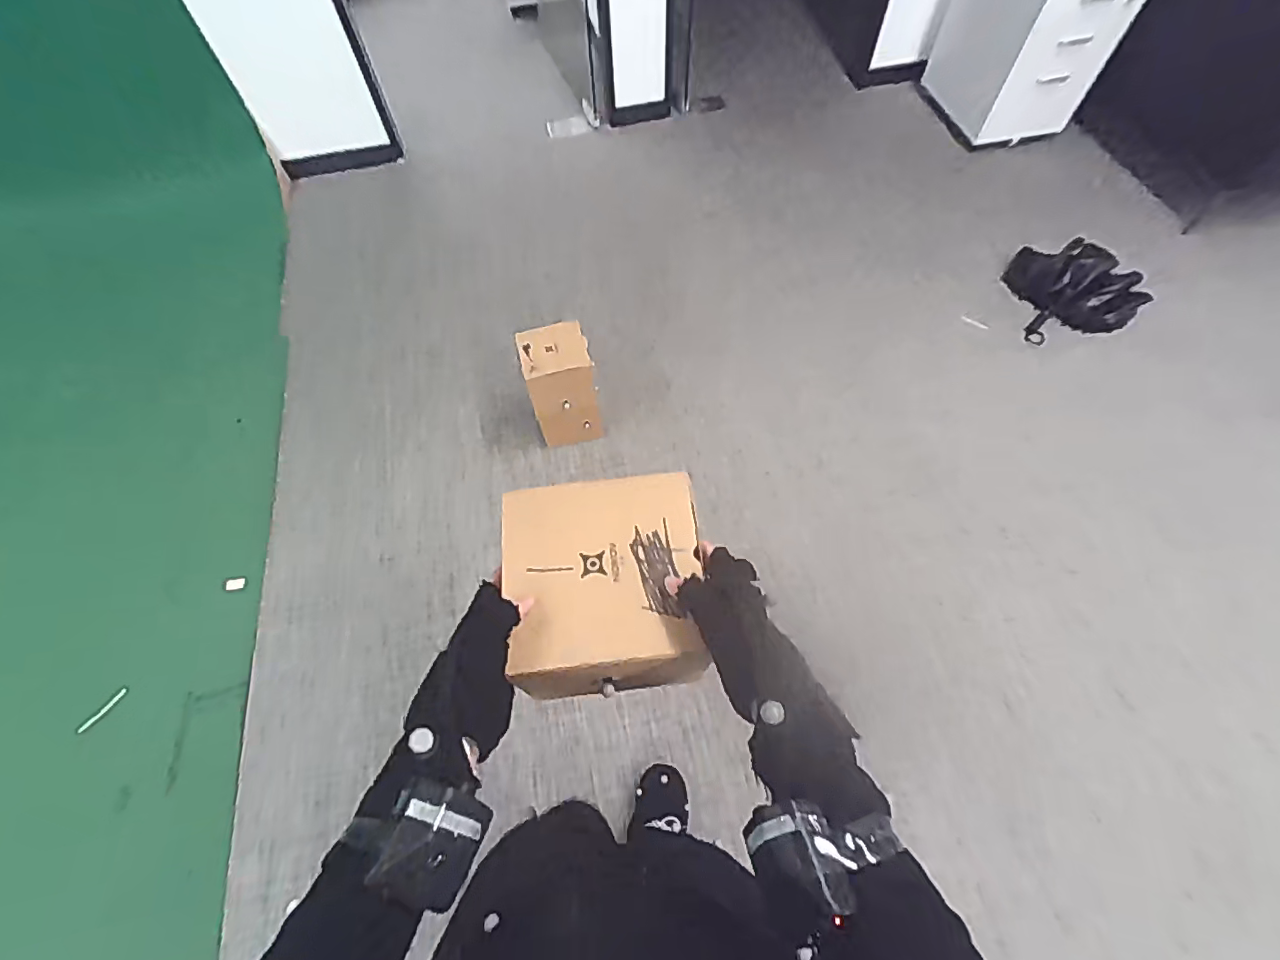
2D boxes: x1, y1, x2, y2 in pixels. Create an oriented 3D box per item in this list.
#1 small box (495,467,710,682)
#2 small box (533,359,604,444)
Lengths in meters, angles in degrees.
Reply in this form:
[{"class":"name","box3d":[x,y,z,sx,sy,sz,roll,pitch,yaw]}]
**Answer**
[{"class":"small box","box3d":[-0.035,0.101,0.542,0.179,0.176,0.168,-3,60,-2]},{"class":"small box","box3d":[-0.208,-0.230,1.615,0.179,0.176,0.168,-14,61,-4]}]
